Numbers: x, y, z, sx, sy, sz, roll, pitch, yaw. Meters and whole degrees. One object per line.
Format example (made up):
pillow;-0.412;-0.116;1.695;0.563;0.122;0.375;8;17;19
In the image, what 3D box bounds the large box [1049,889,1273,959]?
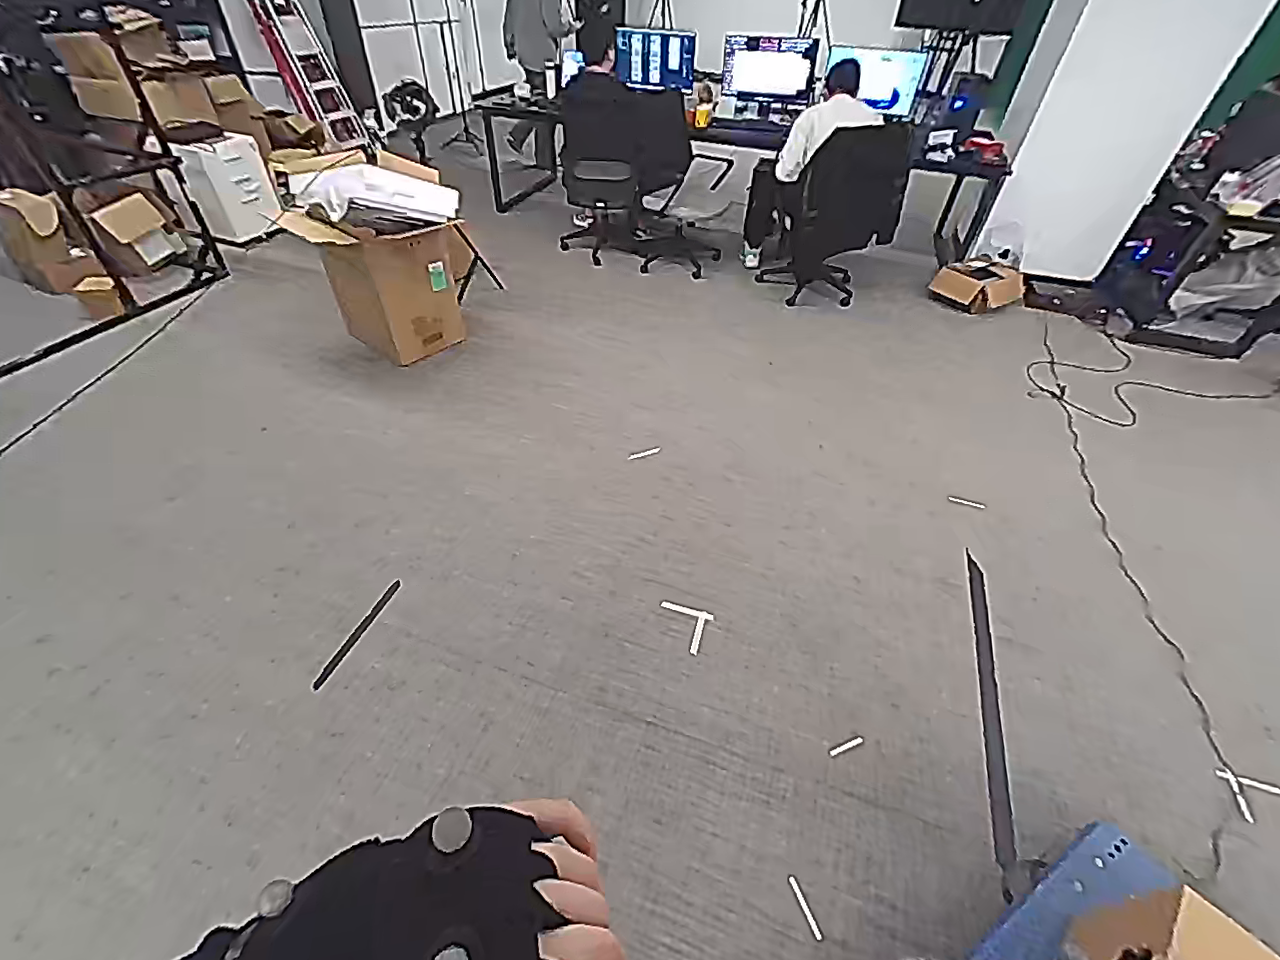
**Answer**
large box;0.873;0.928;0.791;0.320;0.320;0.408;-31;54;-30
